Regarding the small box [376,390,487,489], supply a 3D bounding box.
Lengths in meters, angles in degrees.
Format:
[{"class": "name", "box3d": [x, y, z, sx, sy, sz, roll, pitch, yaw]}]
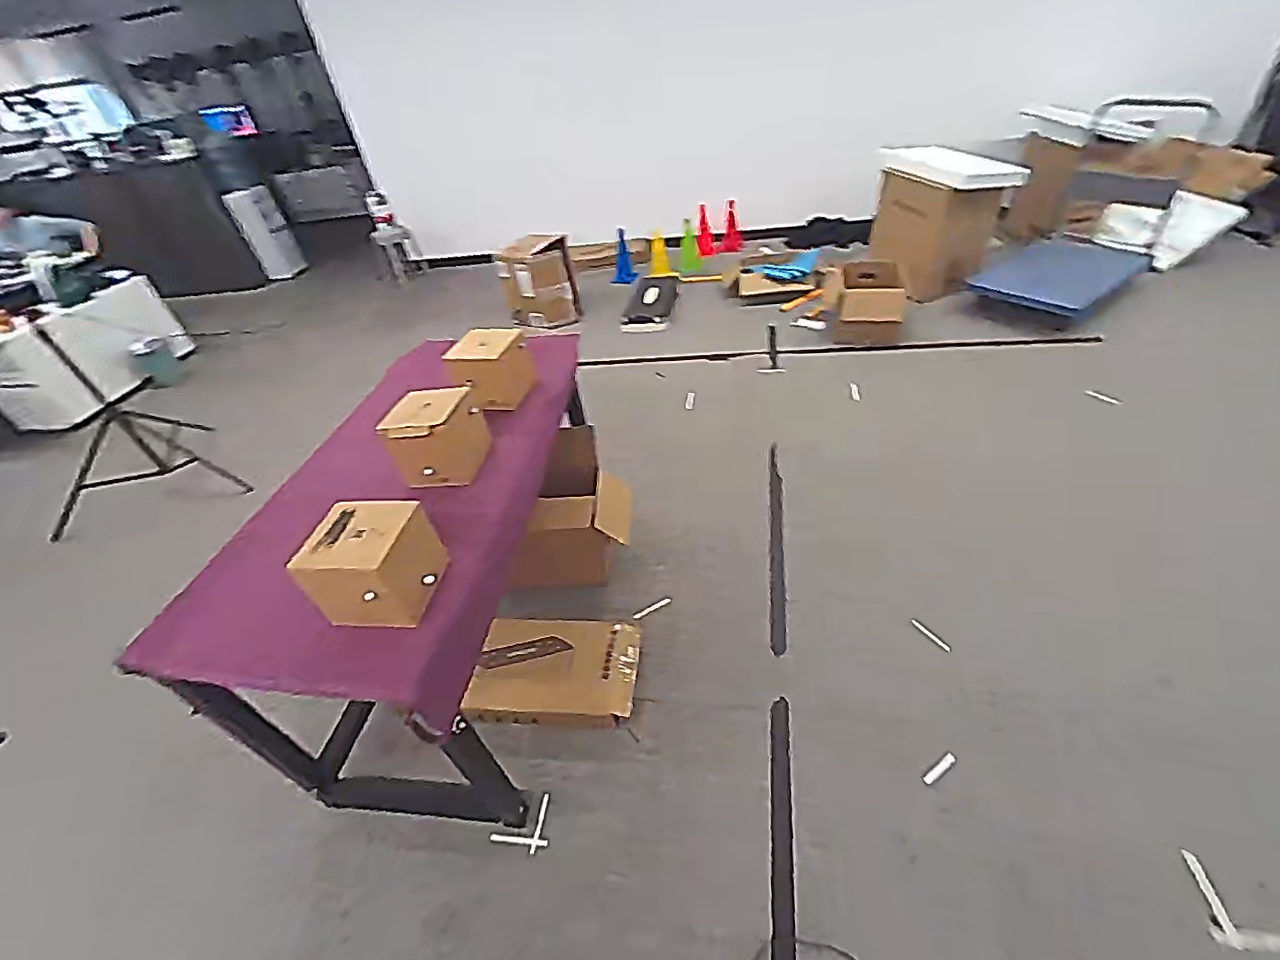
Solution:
[{"class": "small box", "box3d": [-0.489, -0.097, 1.304, 0.168, 0.176, 0.179, -4, 40, 11]}]

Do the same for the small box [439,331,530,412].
[{"class": "small box", "box3d": [-0.430, -0.305, 1.538, 0.168, 0.176, 0.179, 3, 41, 15]}]
